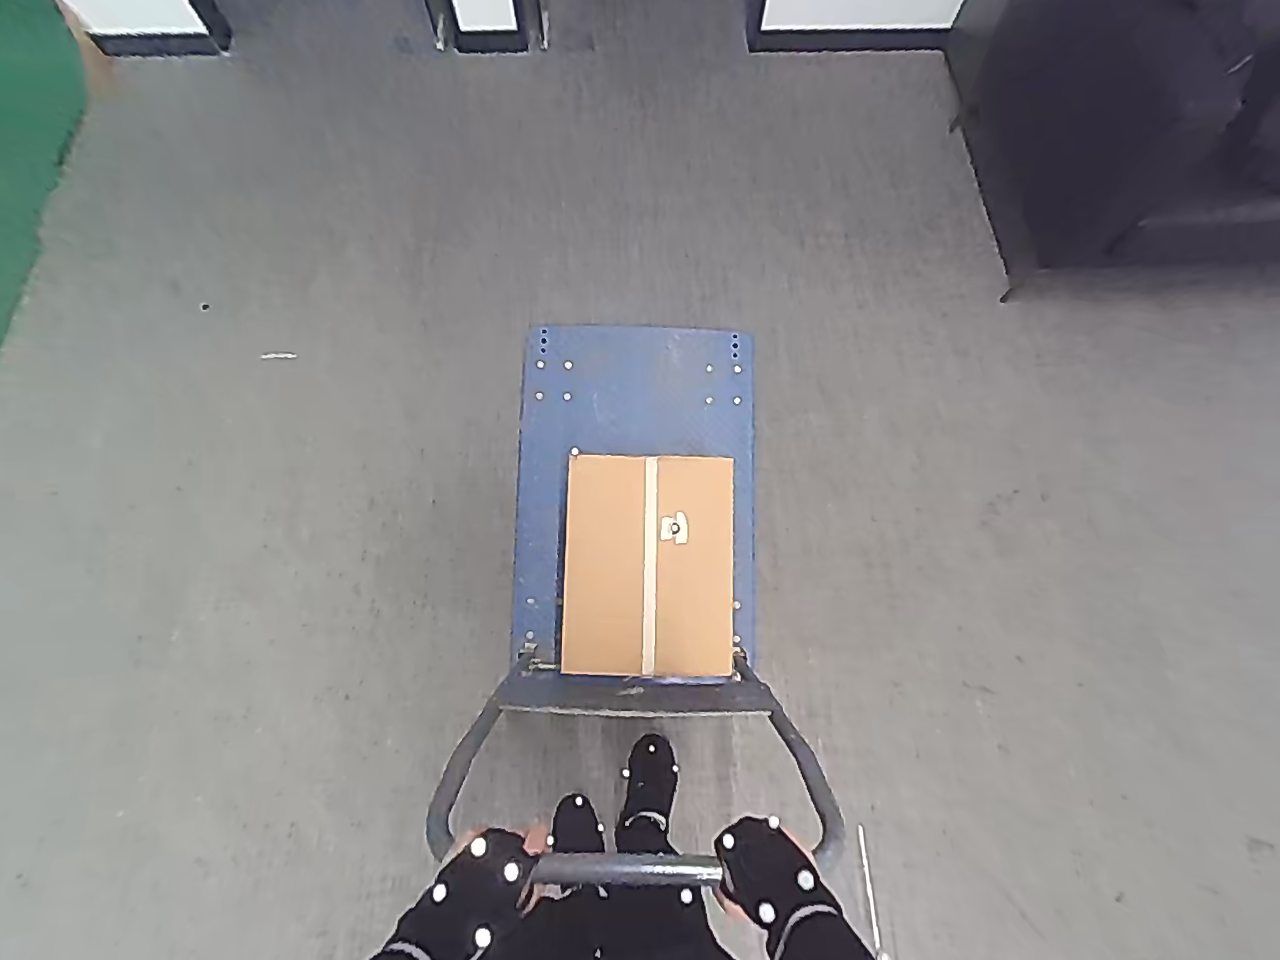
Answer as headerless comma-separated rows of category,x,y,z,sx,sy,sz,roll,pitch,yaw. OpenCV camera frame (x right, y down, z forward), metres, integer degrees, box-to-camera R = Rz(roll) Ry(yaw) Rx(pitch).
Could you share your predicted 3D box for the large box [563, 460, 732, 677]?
large box,0.014,0.180,1.152,0.320,0.320,0.408,1,84,-2
